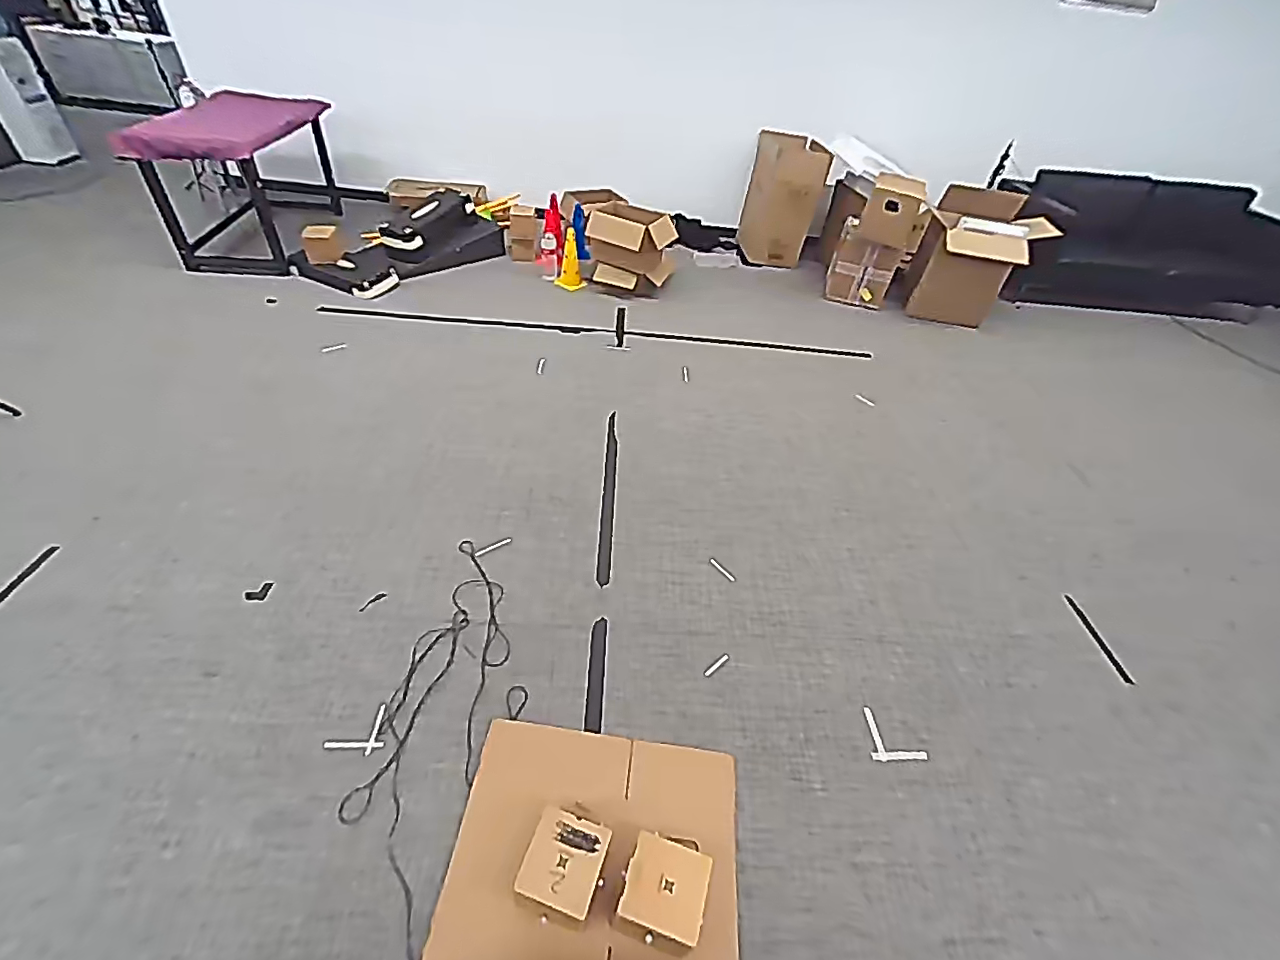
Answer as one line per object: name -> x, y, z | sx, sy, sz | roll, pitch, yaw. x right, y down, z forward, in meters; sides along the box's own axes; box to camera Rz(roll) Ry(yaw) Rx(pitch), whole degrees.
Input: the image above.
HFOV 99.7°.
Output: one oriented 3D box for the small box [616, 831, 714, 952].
small box -> 0.055, 0.944, 1.237 | 0.179, 0.176, 0.168 | 16, 43, 10
